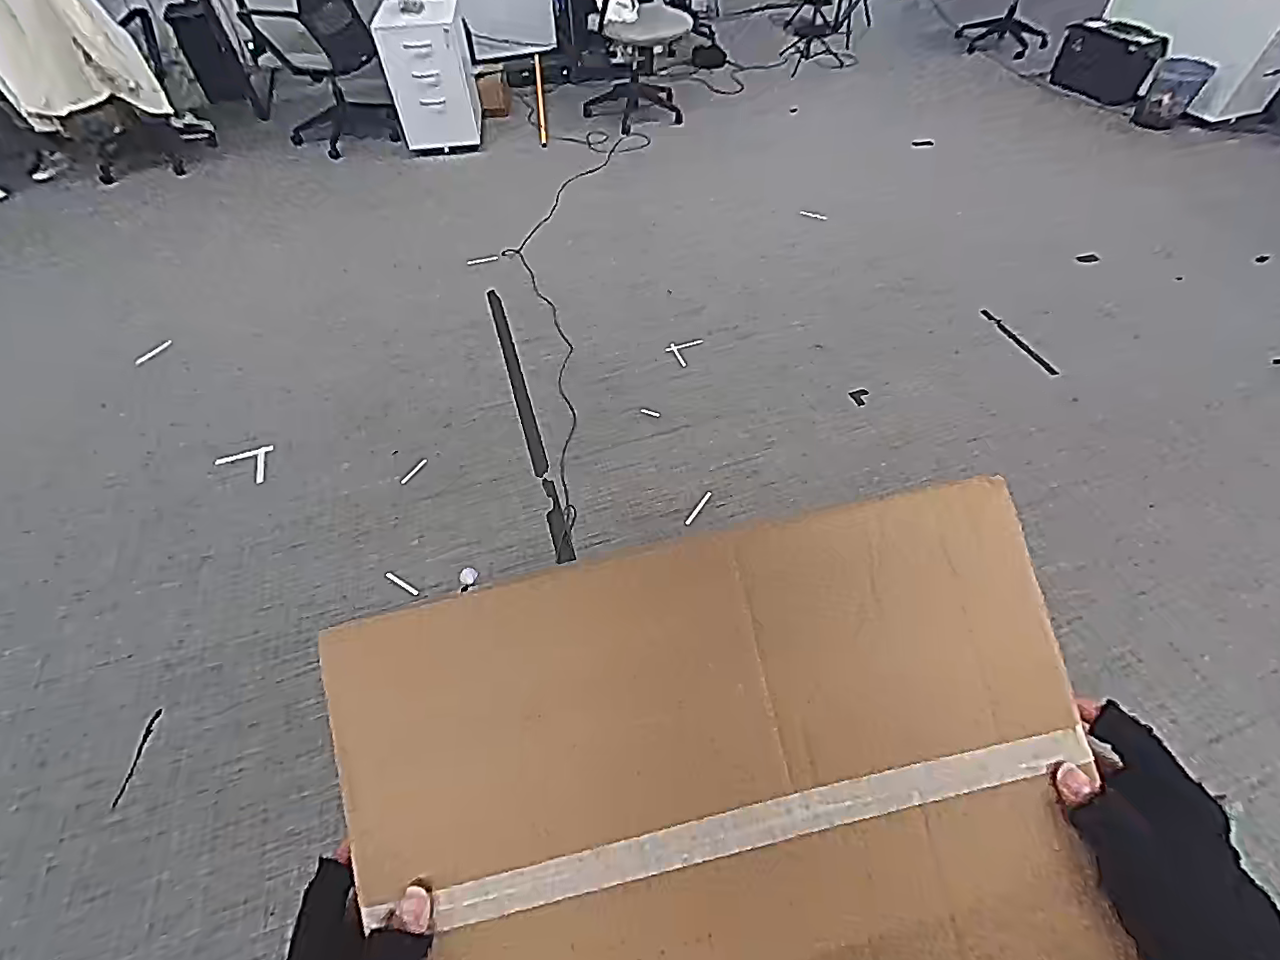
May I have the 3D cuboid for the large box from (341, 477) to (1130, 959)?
[{"bbox_3d":[0.048,0.210,0.456,0.408,0.320,0.320,-13,85,-2],"label":"large box"}]
